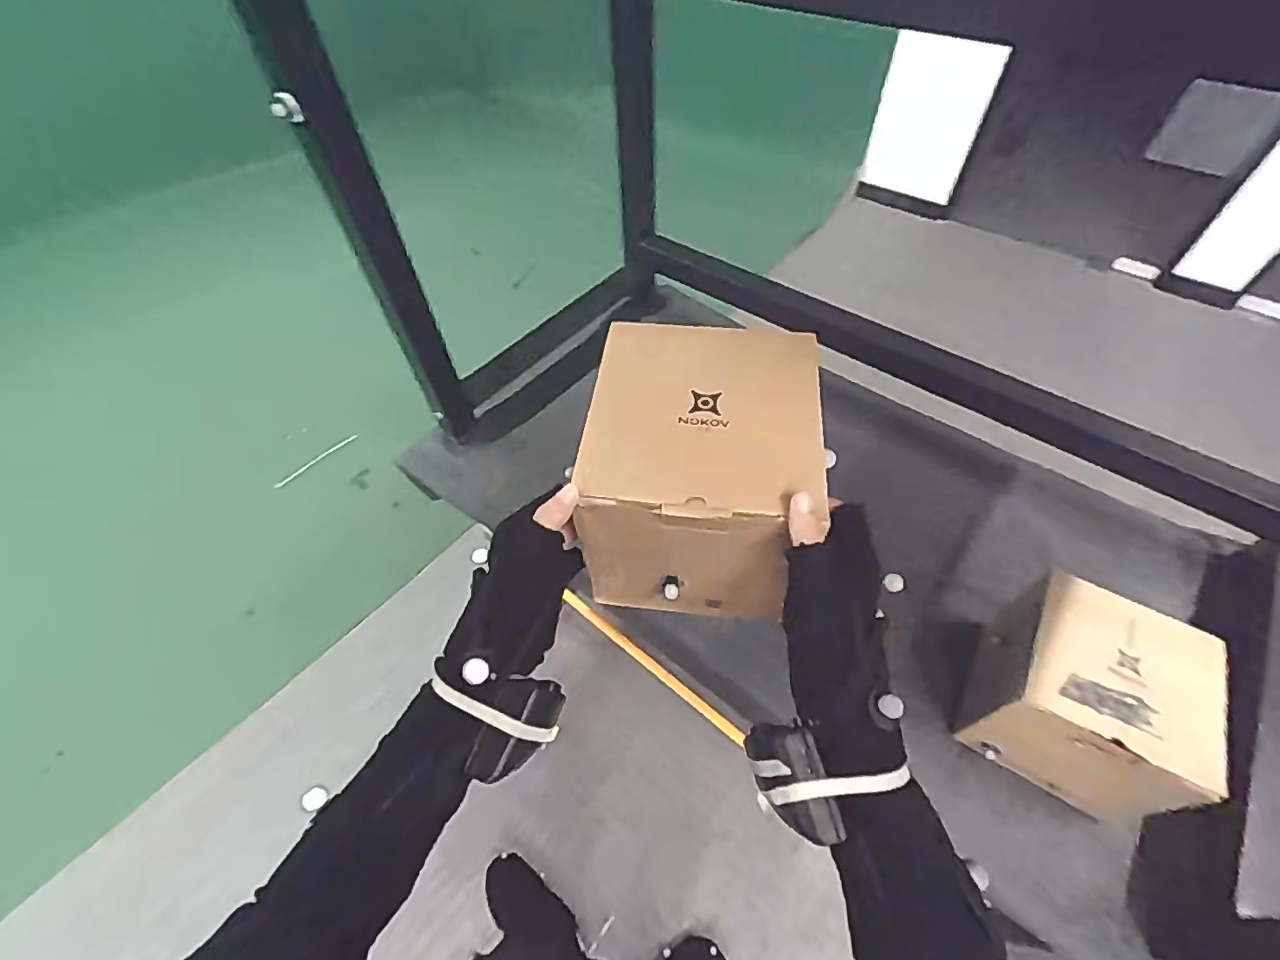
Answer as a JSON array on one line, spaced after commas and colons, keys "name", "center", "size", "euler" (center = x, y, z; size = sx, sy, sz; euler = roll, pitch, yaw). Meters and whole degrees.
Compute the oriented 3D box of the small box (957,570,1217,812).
[{"name": "small box", "center": [0.496, 0.245, 0.622], "size": [0.168, 0.176, 0.179], "euler": [27, 57, 21]}]
